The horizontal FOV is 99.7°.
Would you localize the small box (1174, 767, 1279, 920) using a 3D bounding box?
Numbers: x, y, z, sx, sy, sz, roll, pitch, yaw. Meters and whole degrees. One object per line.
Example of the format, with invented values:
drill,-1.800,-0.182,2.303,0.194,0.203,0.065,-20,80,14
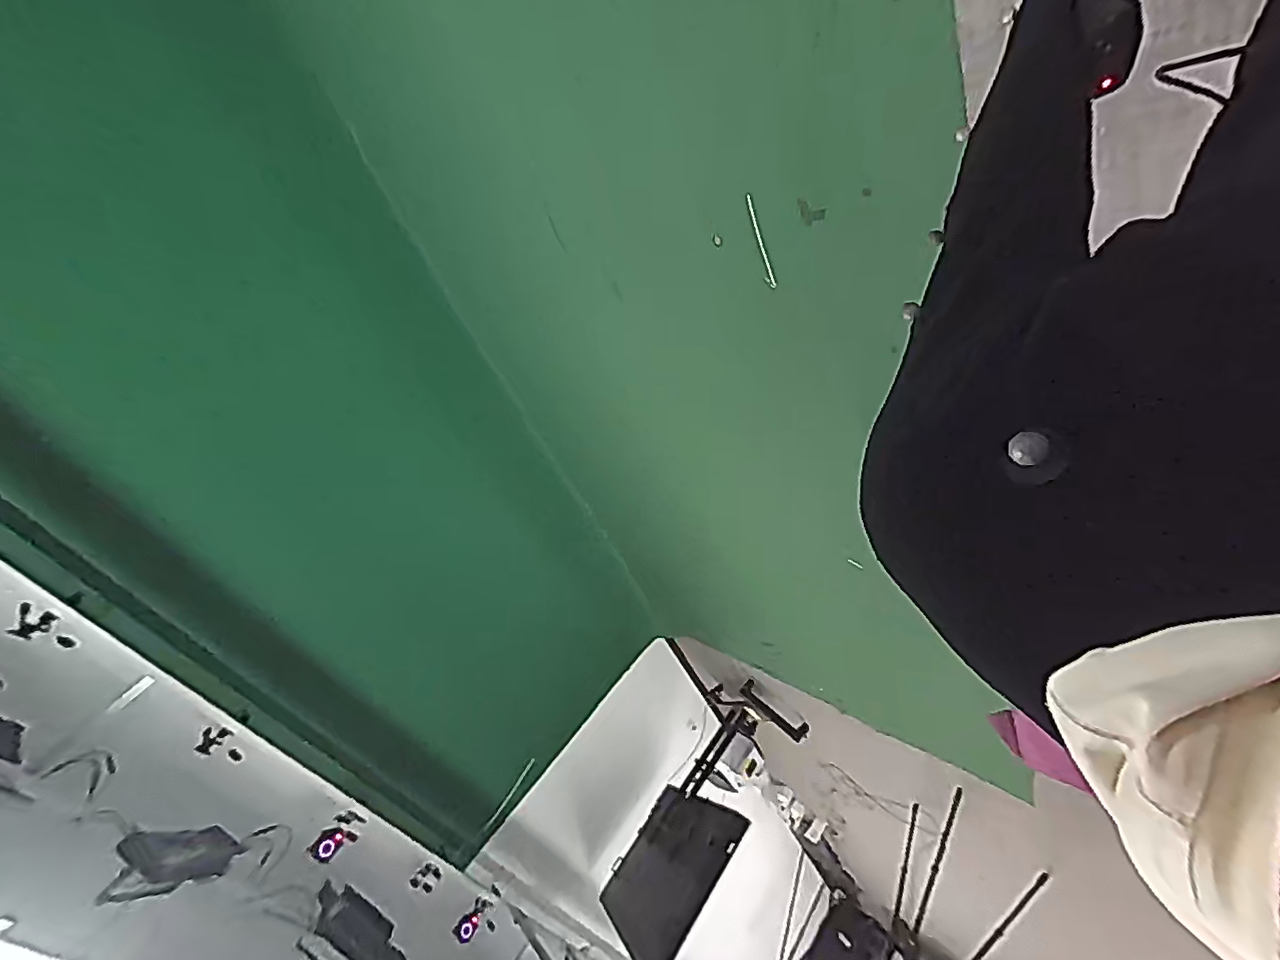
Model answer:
small box,1.220,0.734,1.102,0.168,0.176,0.179,7,135,49
